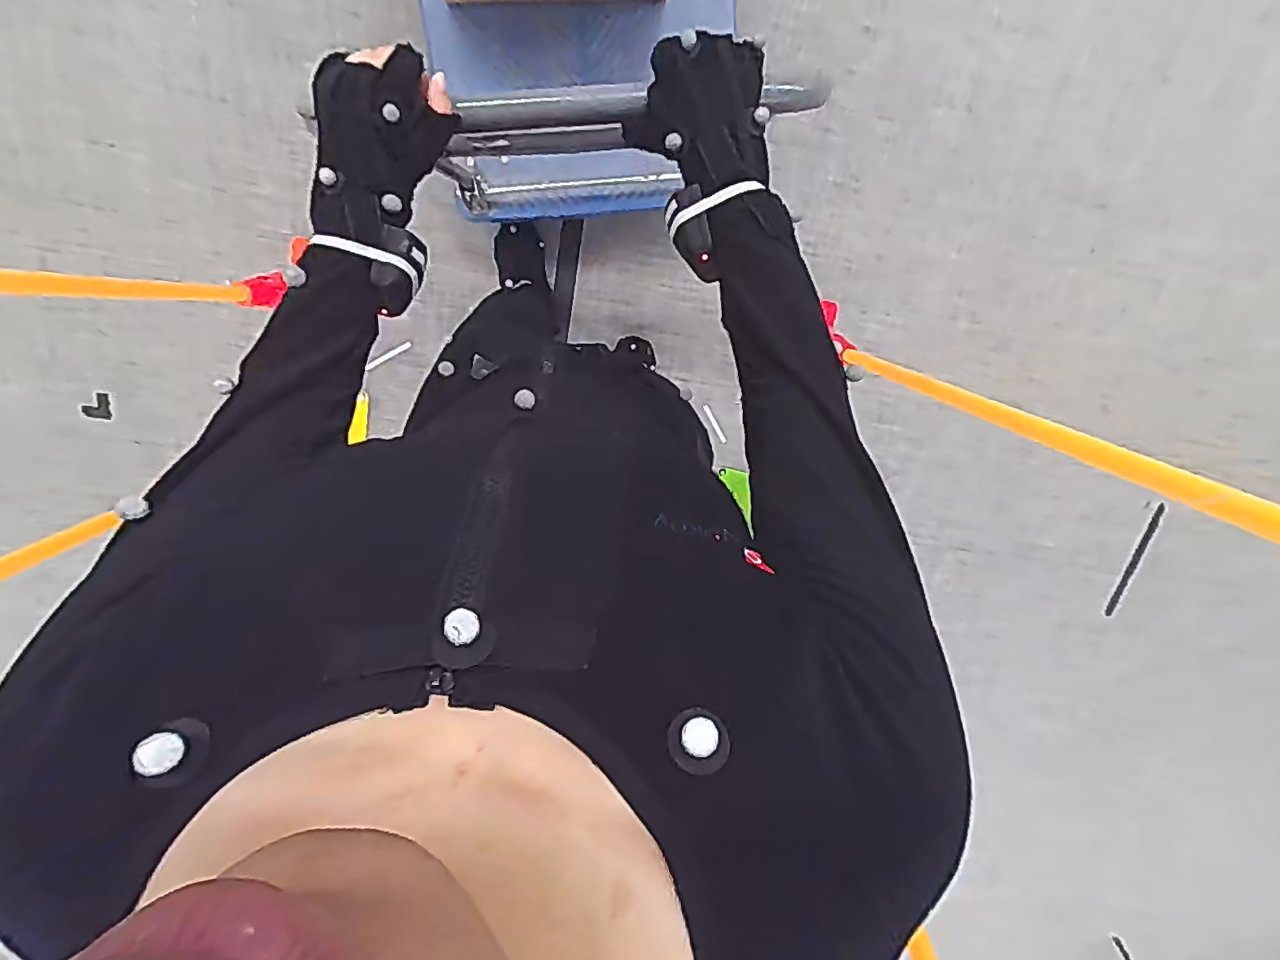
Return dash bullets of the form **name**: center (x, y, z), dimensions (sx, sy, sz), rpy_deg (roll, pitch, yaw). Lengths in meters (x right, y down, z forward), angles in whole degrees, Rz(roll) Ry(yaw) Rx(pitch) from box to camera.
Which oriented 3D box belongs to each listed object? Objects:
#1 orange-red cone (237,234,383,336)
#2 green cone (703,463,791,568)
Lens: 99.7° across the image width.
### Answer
- **orange-red cone**: center (-0.721, -0.410, 1.141), dimensions (0.198, 0.360, 0.199), rpy_deg (15, 108, -9)
- **green cone**: center (0.304, 0.120, 1.380), dimensions (0.202, 0.368, 0.200), rpy_deg (12, 109, -8)
